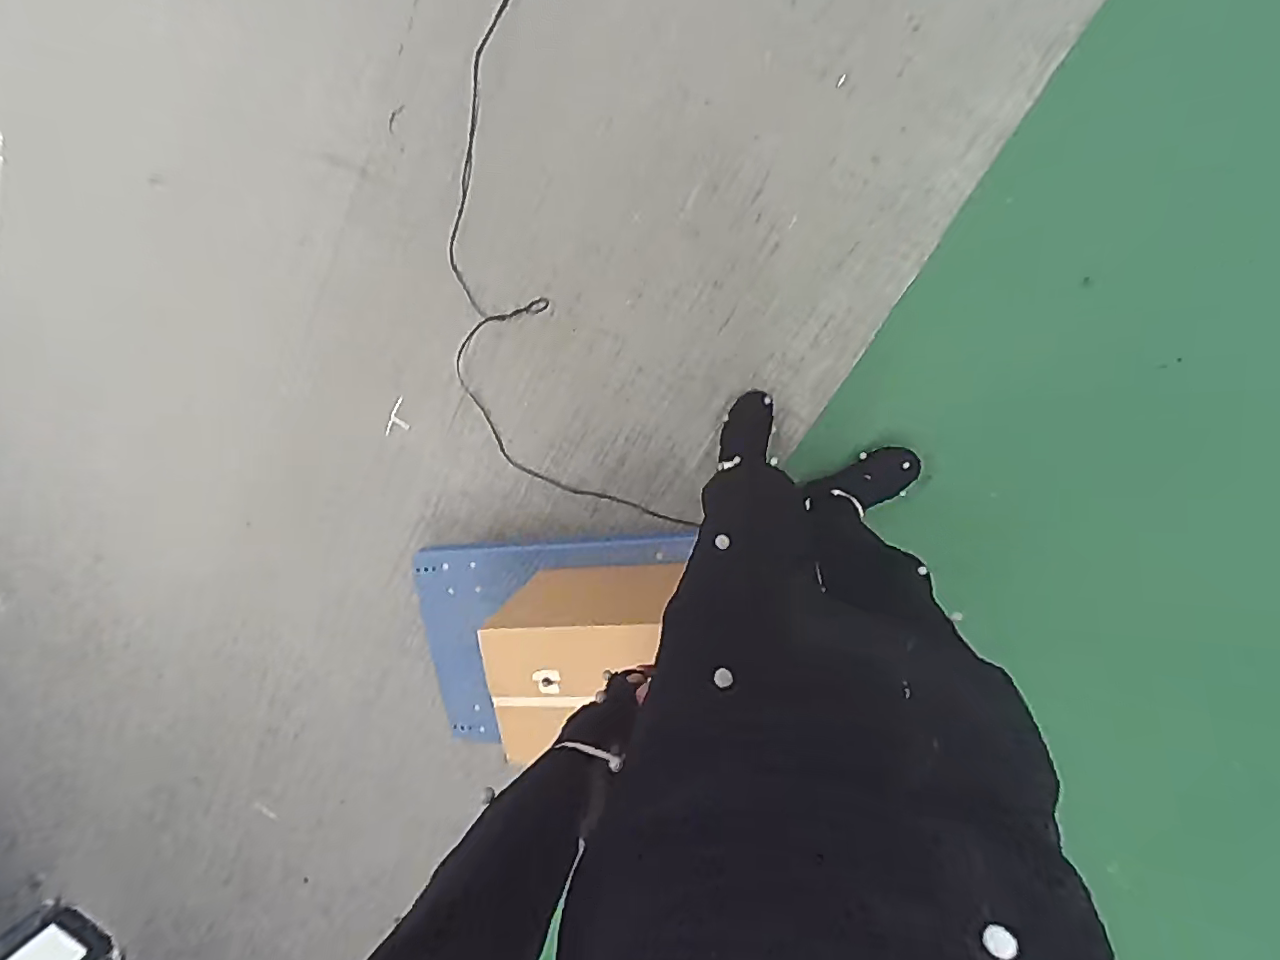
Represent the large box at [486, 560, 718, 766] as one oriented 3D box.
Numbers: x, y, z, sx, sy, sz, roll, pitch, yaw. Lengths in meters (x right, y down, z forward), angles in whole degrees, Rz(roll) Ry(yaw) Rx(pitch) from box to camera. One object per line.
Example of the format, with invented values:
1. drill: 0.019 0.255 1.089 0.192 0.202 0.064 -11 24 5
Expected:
1. large box: -0.060 0.385 1.196 0.408 0.320 0.320 -5 101 16
